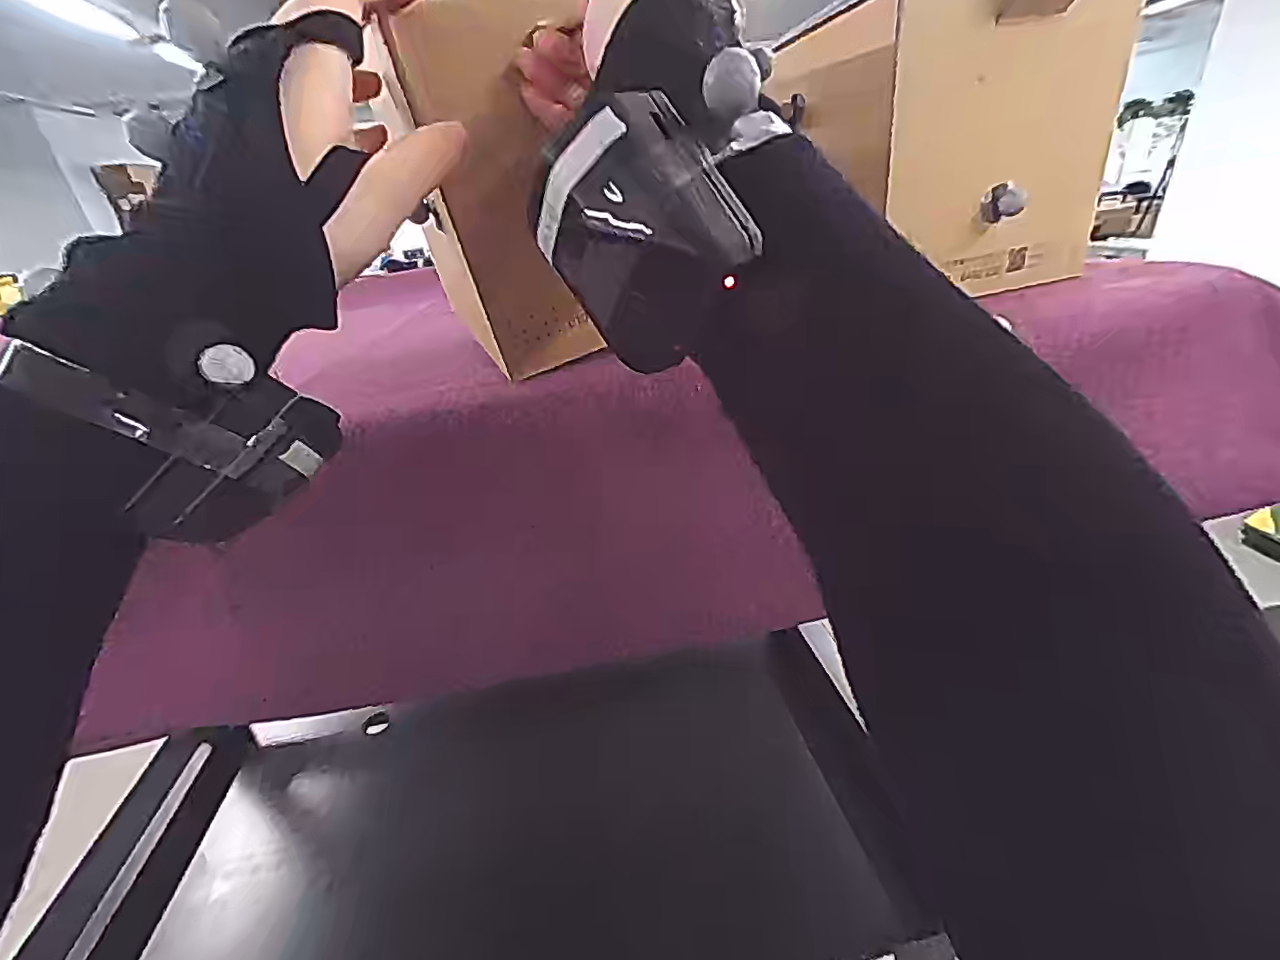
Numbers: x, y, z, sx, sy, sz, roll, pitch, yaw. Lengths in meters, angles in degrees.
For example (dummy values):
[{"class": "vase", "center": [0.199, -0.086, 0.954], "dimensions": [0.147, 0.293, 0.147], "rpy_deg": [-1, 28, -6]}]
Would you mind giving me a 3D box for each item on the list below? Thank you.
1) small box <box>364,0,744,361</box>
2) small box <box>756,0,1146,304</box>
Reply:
[{"class": "small box", "center": [-0.049, -0.192, 0.343], "dimensions": [0.168, 0.176, 0.179], "rpy_deg": [-25, 37, -16]}, {"class": "small box", "center": [0.196, -0.230, 0.394], "dimensions": [0.168, 0.176, 0.179], "rpy_deg": [-14, 27, -11]}]
